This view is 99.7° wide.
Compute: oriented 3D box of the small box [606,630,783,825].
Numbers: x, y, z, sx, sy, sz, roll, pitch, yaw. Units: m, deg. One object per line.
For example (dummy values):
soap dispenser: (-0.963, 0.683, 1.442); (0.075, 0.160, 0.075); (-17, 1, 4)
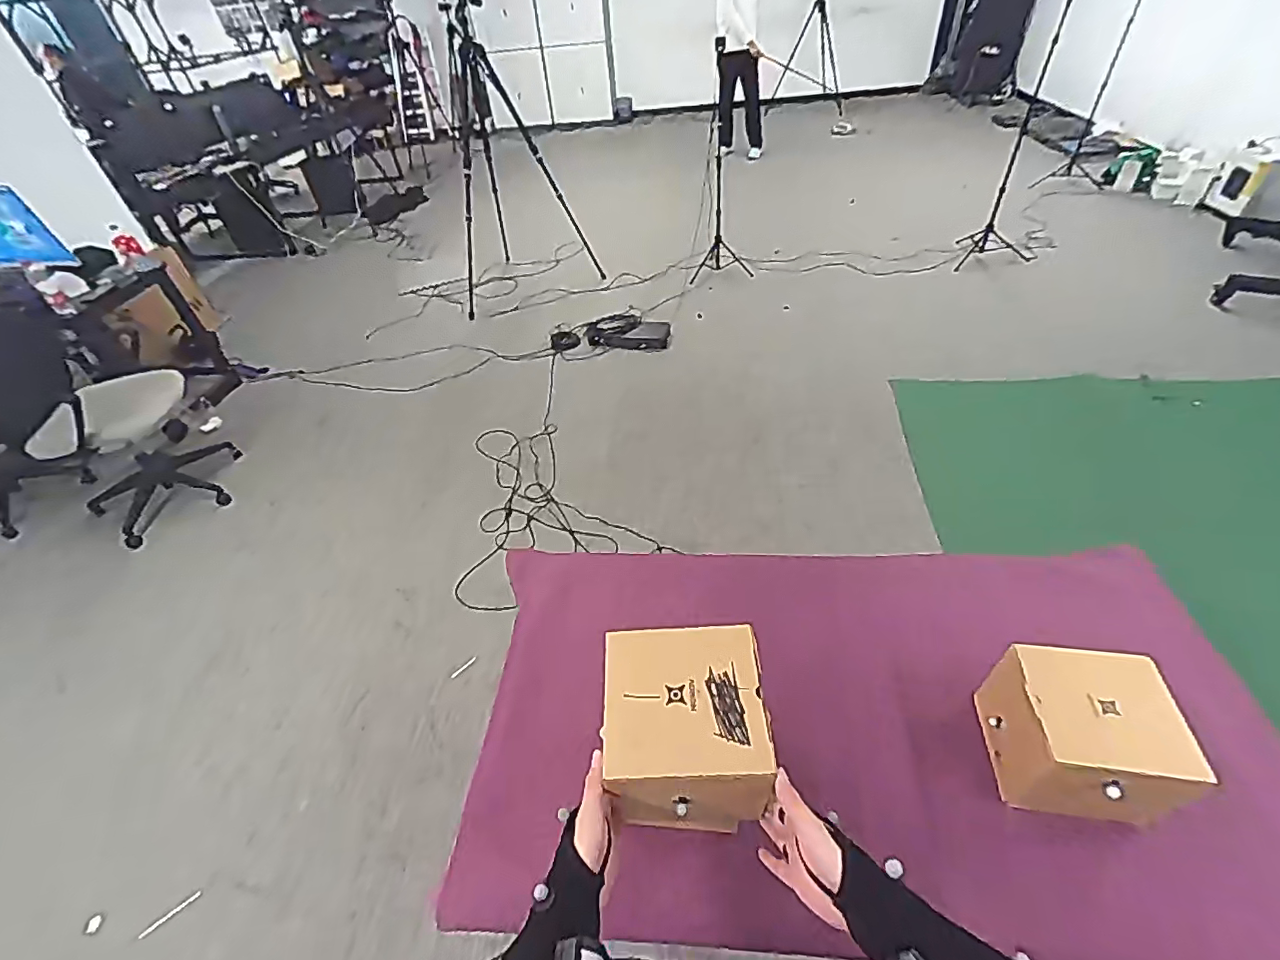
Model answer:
small box: (0.056, 0.294, 0.641); (0.179, 0.176, 0.168); (-3, 45, 2)

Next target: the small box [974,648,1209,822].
small box: (0.614, 0.364, 0.768); (0.179, 0.176, 0.168); (3, 44, 10)
